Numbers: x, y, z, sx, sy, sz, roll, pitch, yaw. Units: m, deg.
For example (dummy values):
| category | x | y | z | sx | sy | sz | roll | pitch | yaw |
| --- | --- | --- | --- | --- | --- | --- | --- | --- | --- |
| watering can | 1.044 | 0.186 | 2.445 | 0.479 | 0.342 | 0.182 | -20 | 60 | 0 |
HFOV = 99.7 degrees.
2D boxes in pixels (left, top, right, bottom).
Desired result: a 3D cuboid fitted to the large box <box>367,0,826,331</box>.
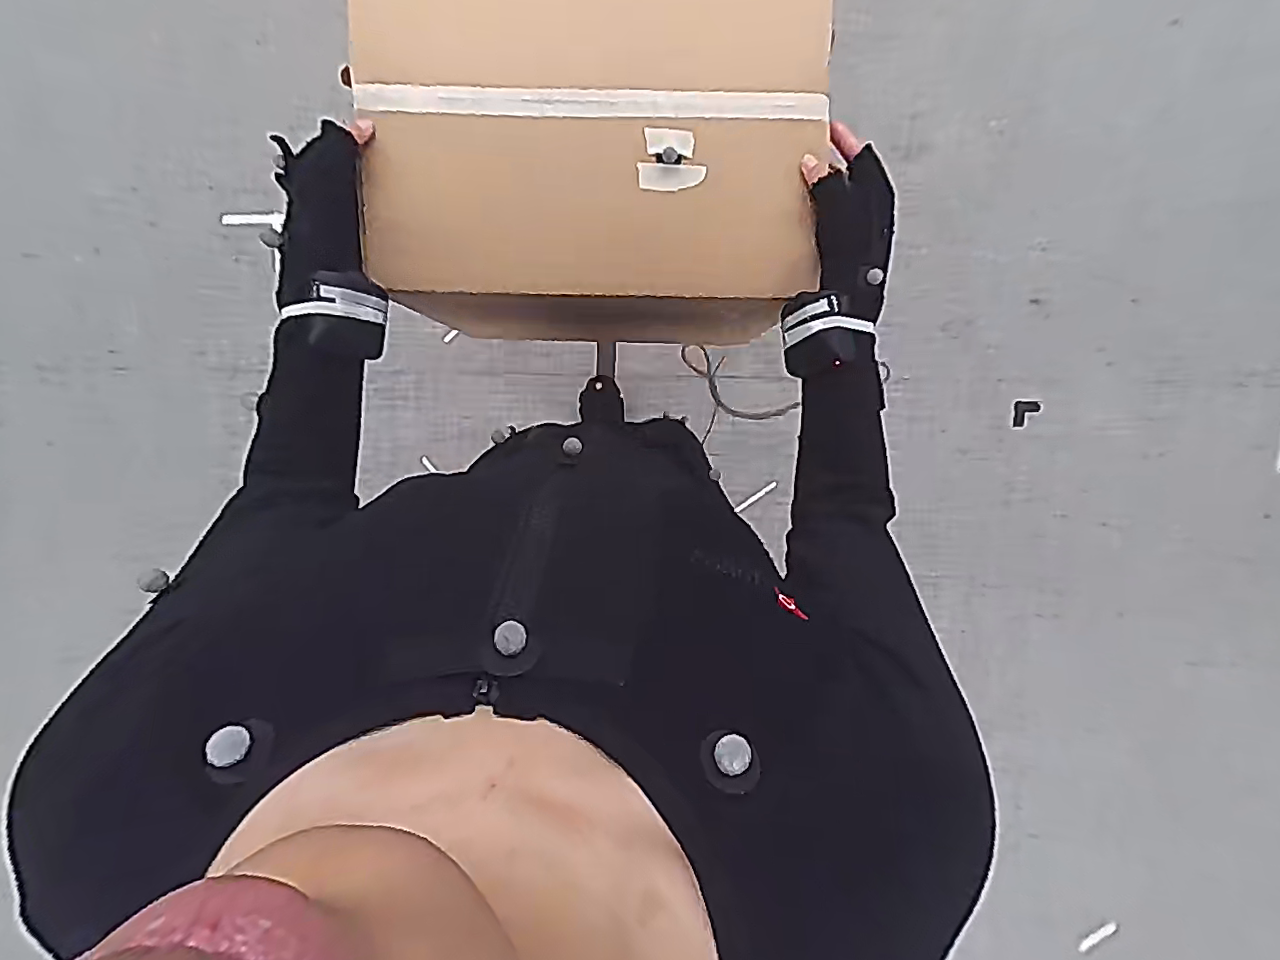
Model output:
| category | x | y | z | sx | sy | sz | roll | pitch | yaw |
| --- | --- | --- | --- | --- | --- | --- | --- | --- | --- |
| large box | -0.041 | -0.352 | 0.624 | 0.408 | 0.320 | 0.320 | 1 | 98 | -2 |
